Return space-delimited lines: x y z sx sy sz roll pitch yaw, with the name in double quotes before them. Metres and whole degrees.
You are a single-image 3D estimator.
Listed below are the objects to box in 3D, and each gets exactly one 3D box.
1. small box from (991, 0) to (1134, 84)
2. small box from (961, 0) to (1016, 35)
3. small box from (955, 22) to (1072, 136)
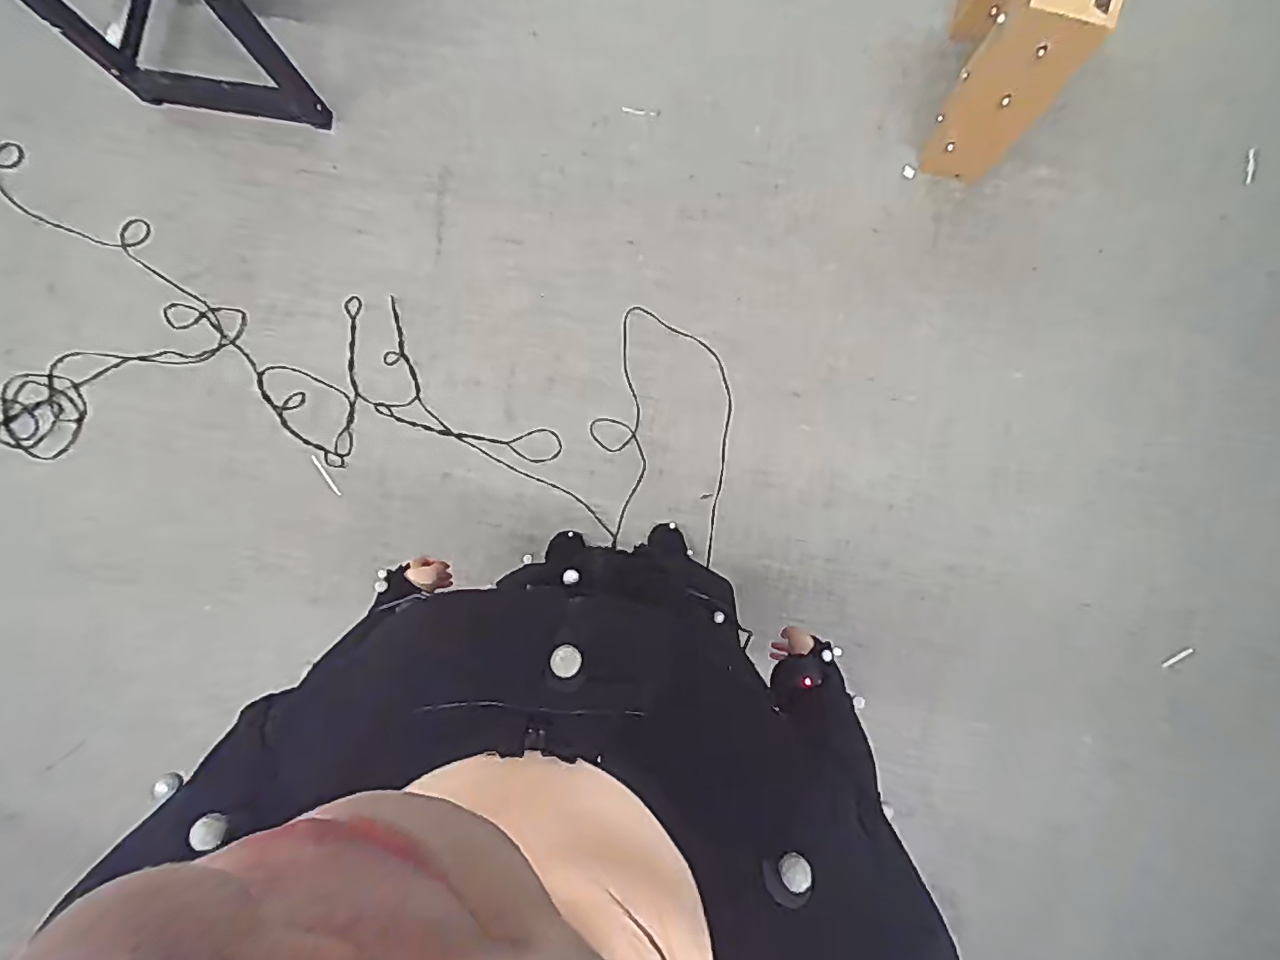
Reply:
"small box" 0.894 -0.985 1.138 0.179 0.176 0.168 20 87 4
"small box" 1.023 -1.370 1.484 0.179 0.176 0.168 14 87 3
"small box" 0.908 -0.973 1.302 0.179 0.176 0.168 18 87 3
